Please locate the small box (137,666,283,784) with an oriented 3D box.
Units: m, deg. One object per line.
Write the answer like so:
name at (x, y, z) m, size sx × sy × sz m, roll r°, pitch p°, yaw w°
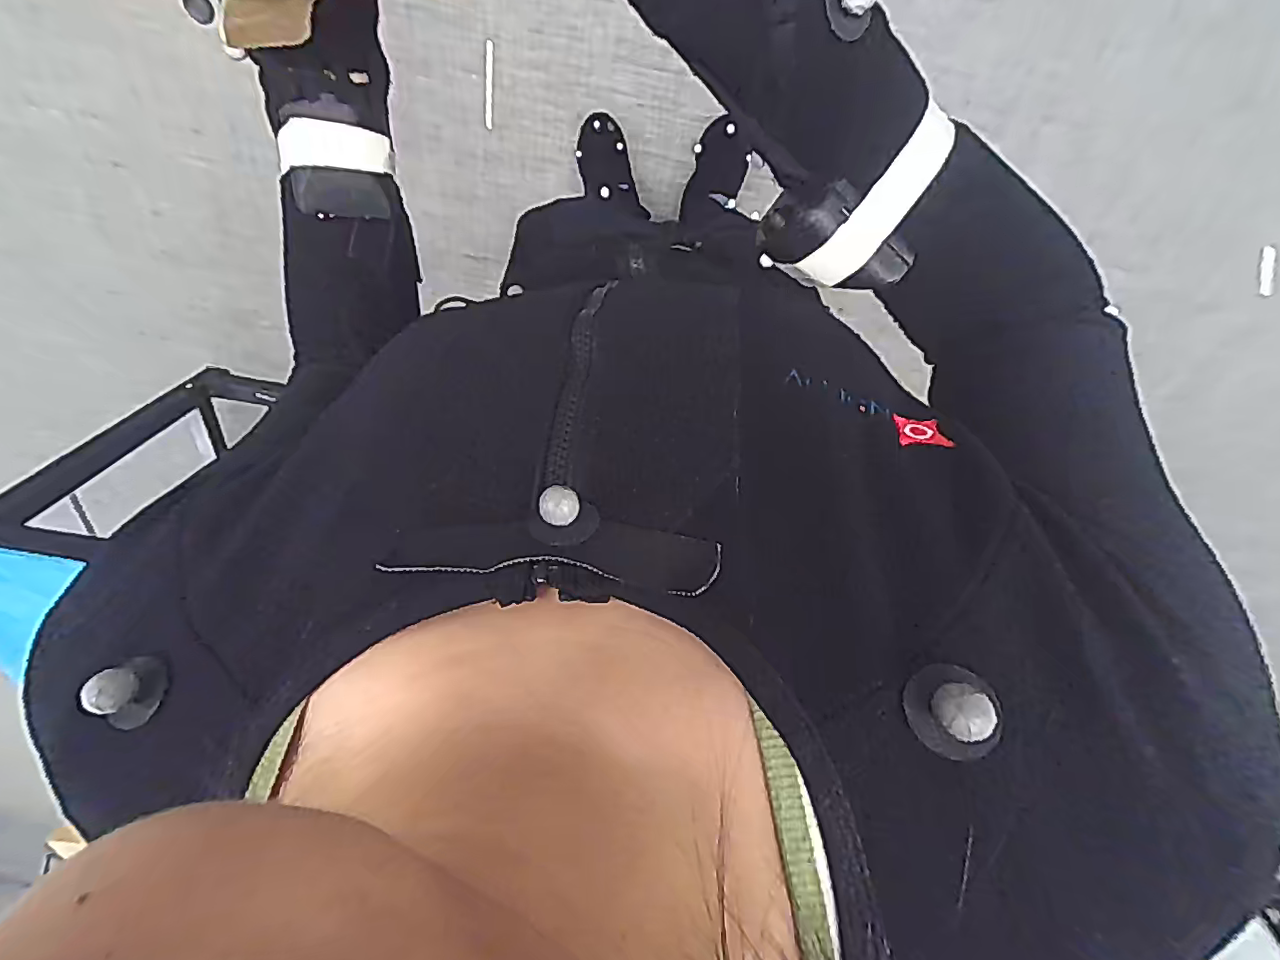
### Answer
small box at (-0.936, 0.544, 1.200) m, size 0.168 × 0.176 × 0.179 m, roll 9°, pitch 127°, yaw -2°
